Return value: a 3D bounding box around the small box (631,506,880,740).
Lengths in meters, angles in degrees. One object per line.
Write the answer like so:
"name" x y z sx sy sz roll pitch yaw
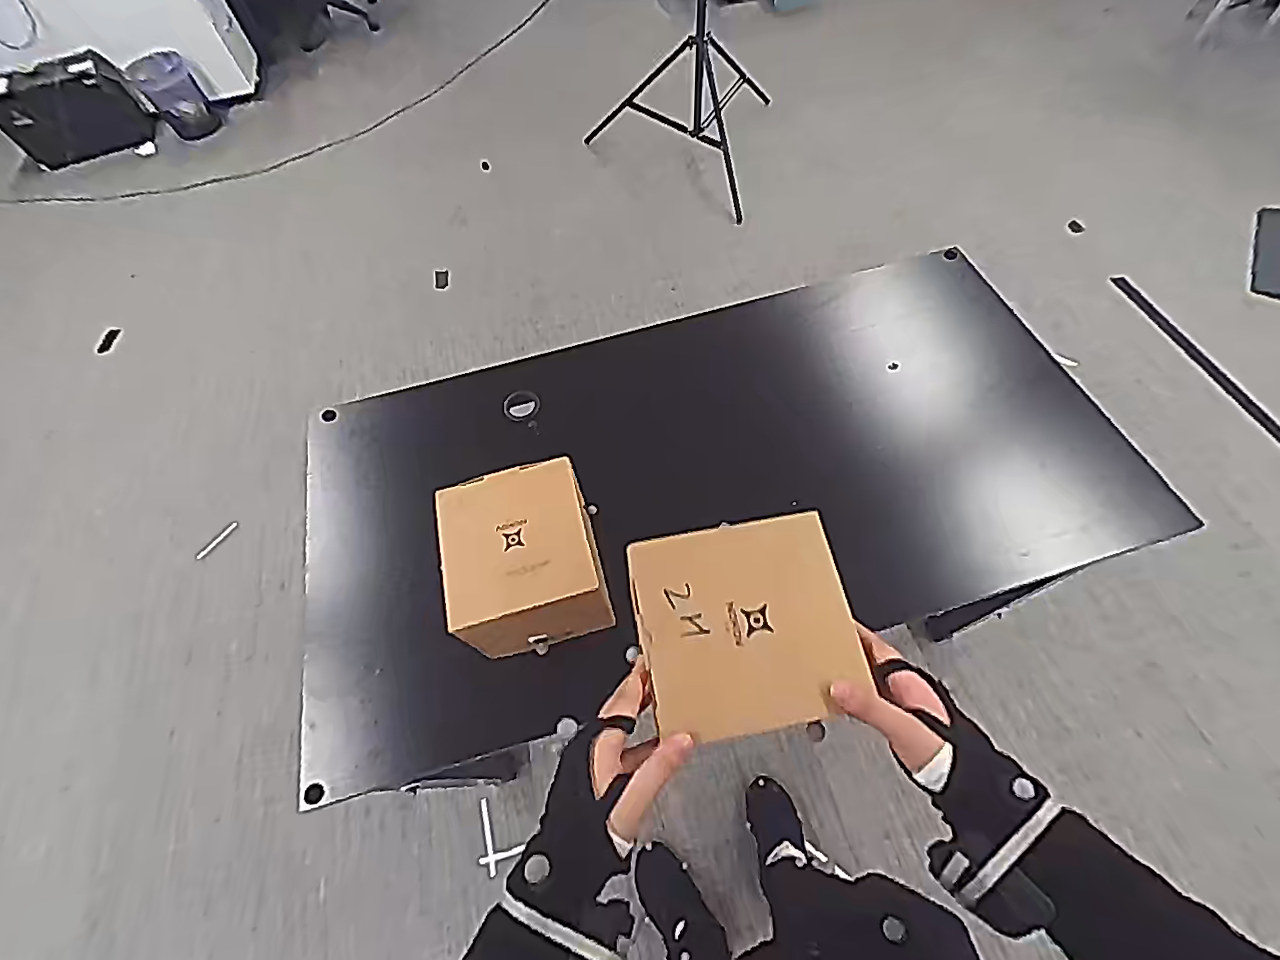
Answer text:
"small box" 0.088 0.139 0.513 0.179 0.176 0.168 -9 67 -3

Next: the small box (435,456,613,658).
"small box" -0.138 0.101 0.673 0.168 0.176 0.179 -16 62 -4
